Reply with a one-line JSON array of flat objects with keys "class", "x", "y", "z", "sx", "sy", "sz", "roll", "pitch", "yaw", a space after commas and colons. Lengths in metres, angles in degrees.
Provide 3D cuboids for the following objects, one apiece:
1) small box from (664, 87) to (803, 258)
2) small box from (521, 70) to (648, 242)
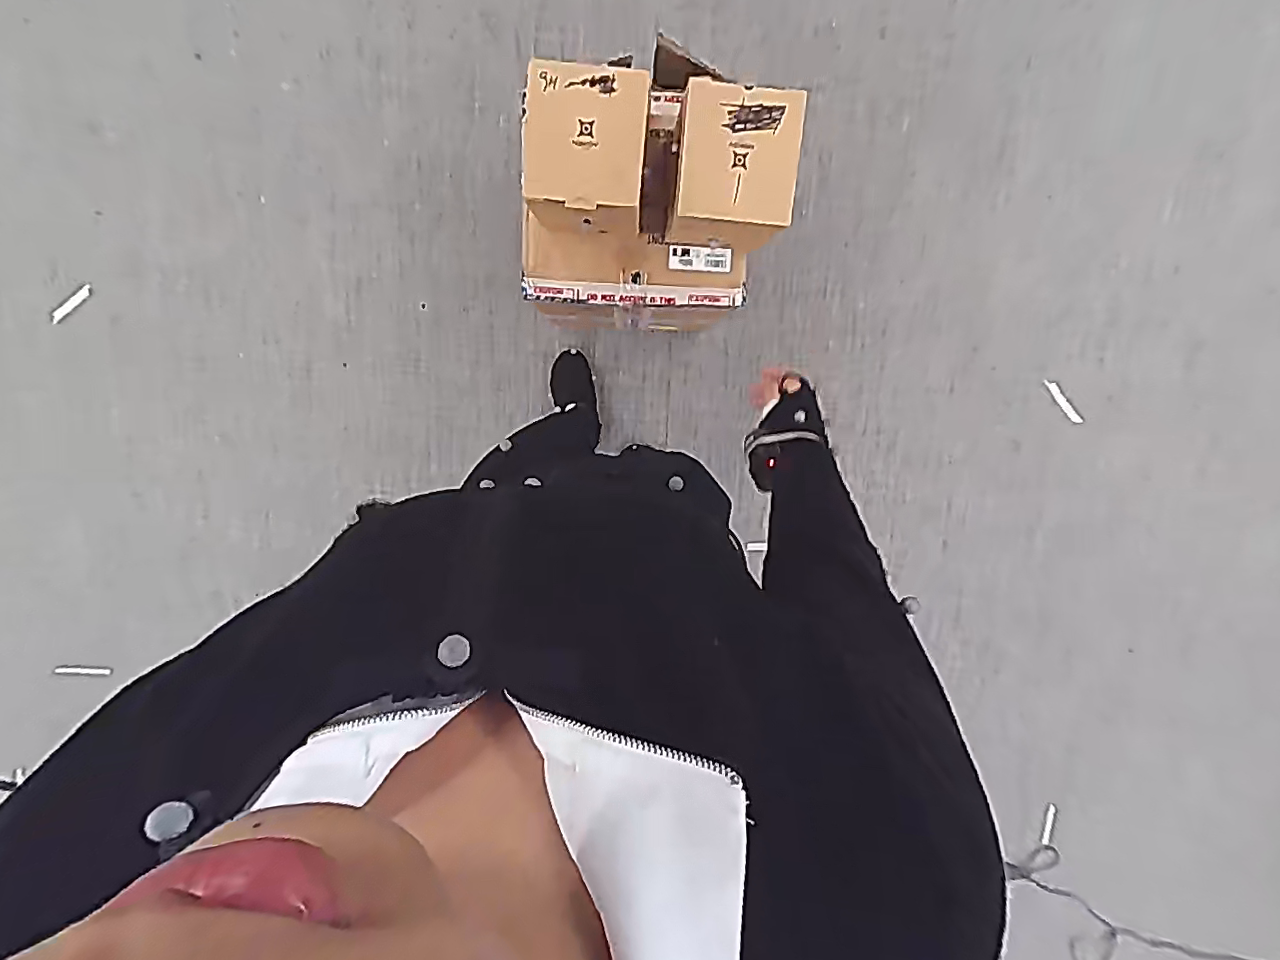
[{"class": "small box", "x": 0.132, "y": -0.457, "z": 0.831, "sx": 0.168, "sy": 0.176, "sz": 0.179, "roll": 4, "pitch": 102, "yaw": -4}, {"class": "small box", "x": -0.078, "y": -0.474, "z": 0.820, "sx": 0.168, "sy": 0.176, "sz": 0.179, "roll": 5, "pitch": 102, "yaw": -1}]
